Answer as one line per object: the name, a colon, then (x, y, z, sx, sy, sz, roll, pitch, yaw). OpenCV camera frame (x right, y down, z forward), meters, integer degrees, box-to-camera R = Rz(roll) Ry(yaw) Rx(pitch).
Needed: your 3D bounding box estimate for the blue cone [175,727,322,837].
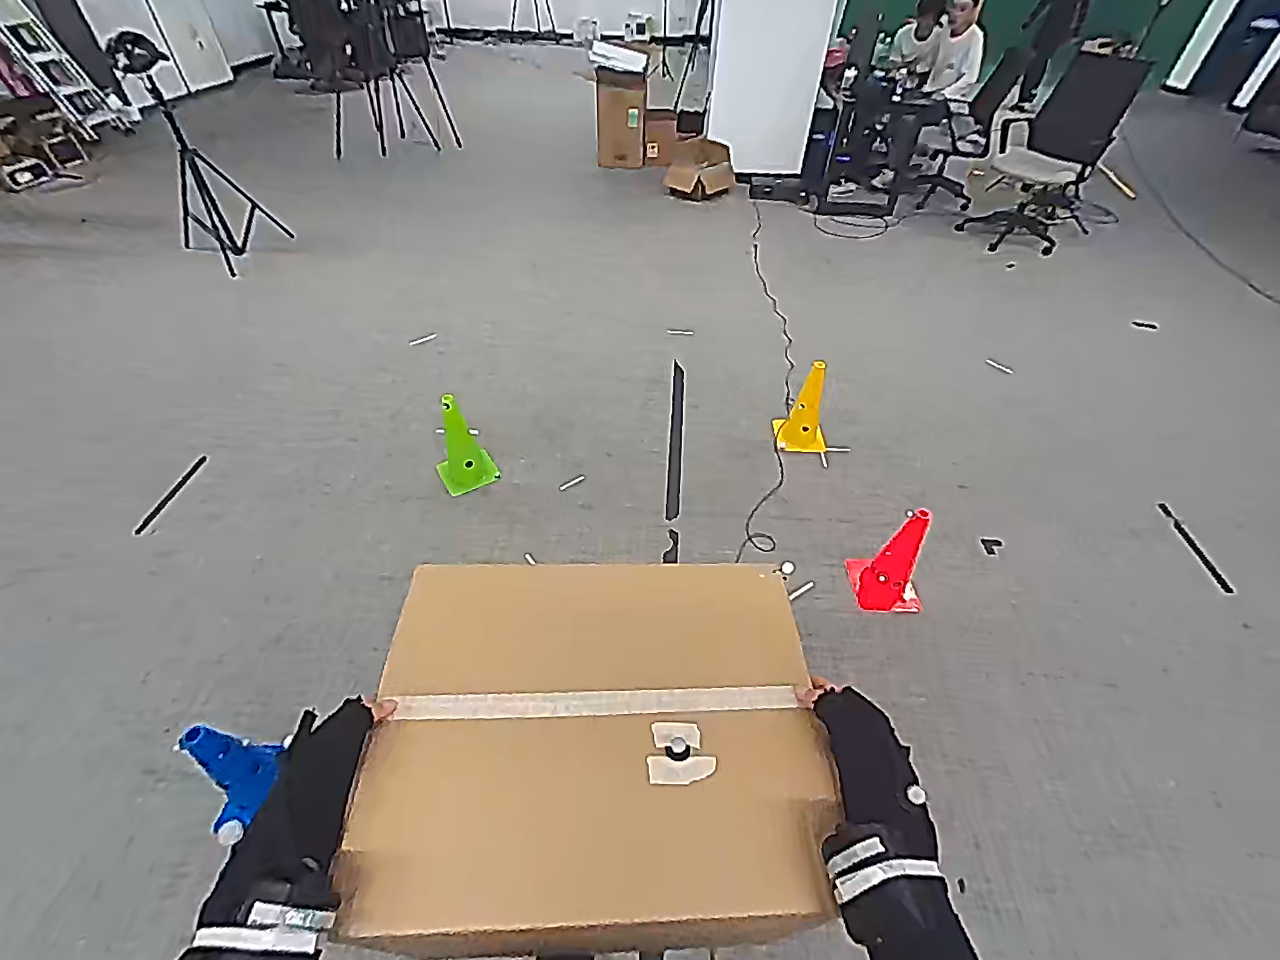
blue cone: (-0.888, 0.636, 1.194, 0.192, 0.380, 0.193, 5, 45, 5)

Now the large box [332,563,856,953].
large box: (-0.045, 0.309, 0.612, 0.408, 0.320, 0.320, 1, 46, -4)

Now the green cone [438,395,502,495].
green cone: (-0.659, -0.156, 1.969, 0.202, 0.368, 0.200, -26, 50, -23)

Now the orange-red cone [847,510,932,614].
orange-red cone: (0.795, 0.223, 1.640, 0.198, 0.360, 0.199, 3, 44, -1)
